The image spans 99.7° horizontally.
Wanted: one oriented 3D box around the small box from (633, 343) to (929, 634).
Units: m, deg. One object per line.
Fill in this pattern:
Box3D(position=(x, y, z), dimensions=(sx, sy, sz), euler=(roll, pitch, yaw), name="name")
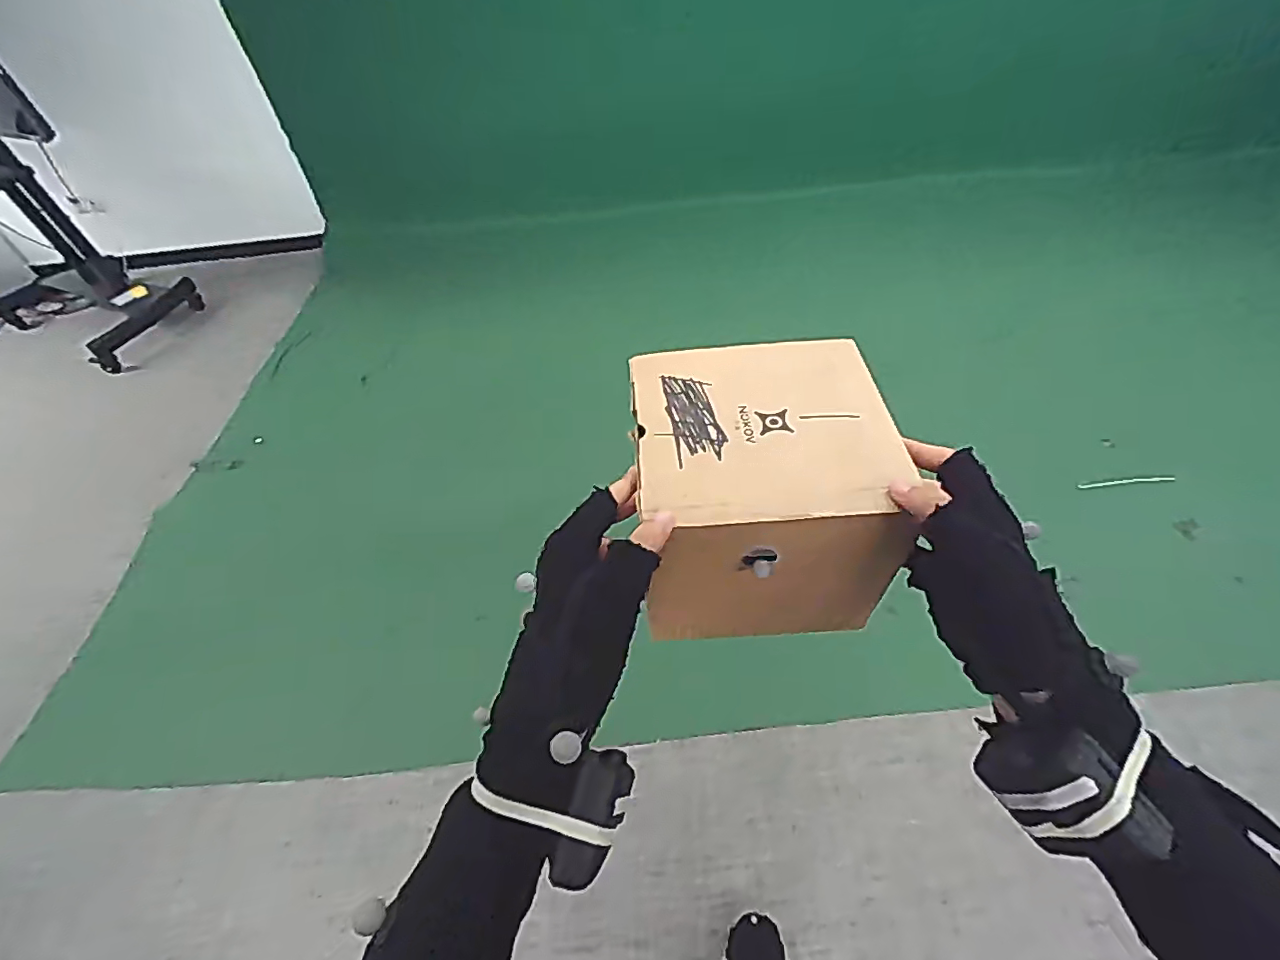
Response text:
Box3D(position=(0.089, 0.013, 0.433), dimensions=(0.179, 0.176, 0.168), euler=(-4, 51, 1), name="small box")
